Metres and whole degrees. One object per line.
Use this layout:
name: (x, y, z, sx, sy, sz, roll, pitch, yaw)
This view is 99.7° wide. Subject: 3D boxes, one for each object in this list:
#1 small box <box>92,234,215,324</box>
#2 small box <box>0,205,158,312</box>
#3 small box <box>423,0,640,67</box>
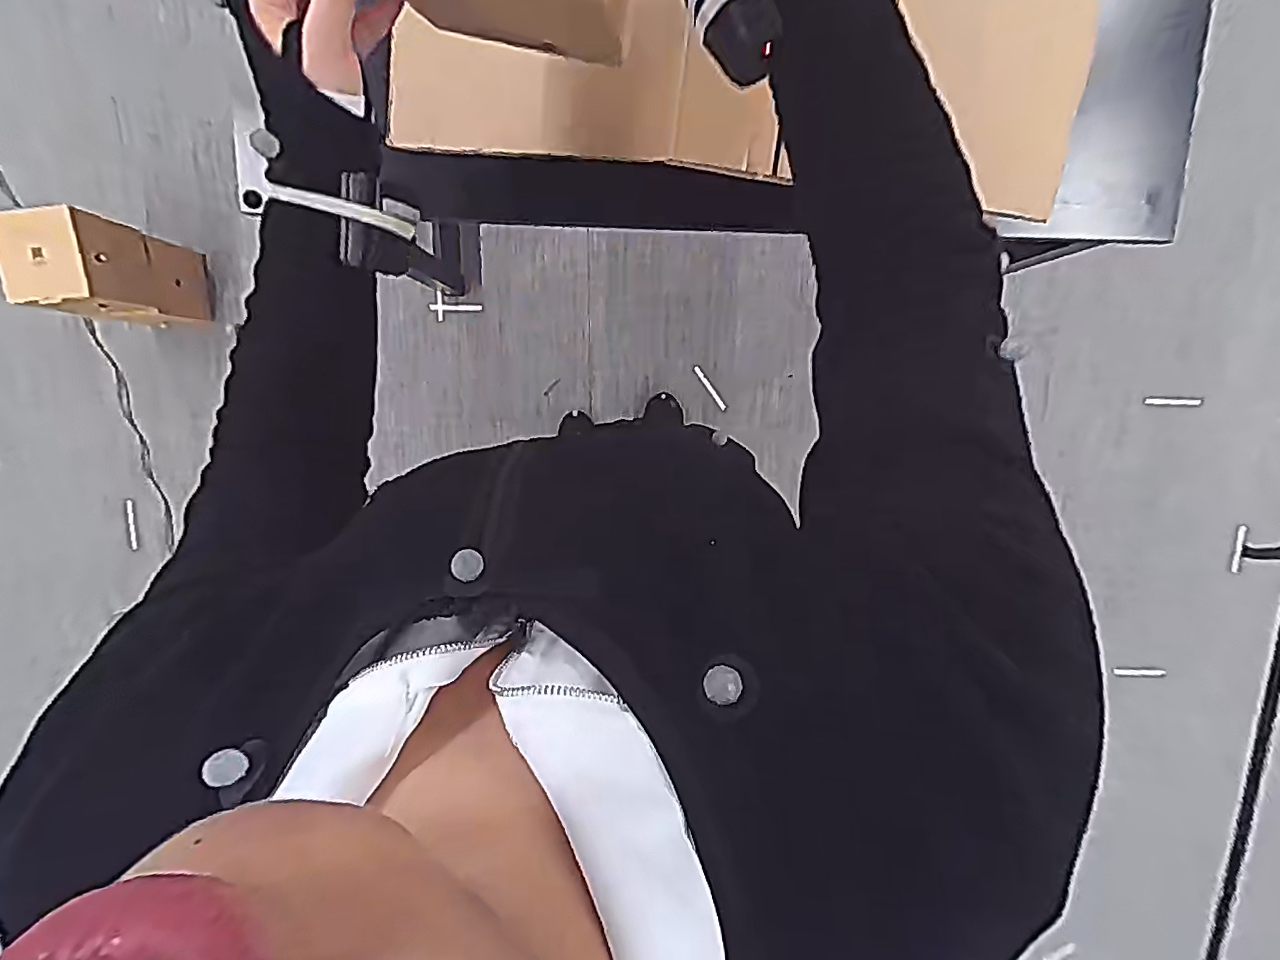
small box: (-1.183, -0.479, 1.310, 0.168, 0.176, 0.179, -2, 100, 0)
small box: (-1.182, -0.459, 1.149, 0.168, 0.176, 0.179, -6, 98, -1)
small box: (-0.077, -0.405, 0.339, 0.168, 0.176, 0.179, 12, 112, 0)
